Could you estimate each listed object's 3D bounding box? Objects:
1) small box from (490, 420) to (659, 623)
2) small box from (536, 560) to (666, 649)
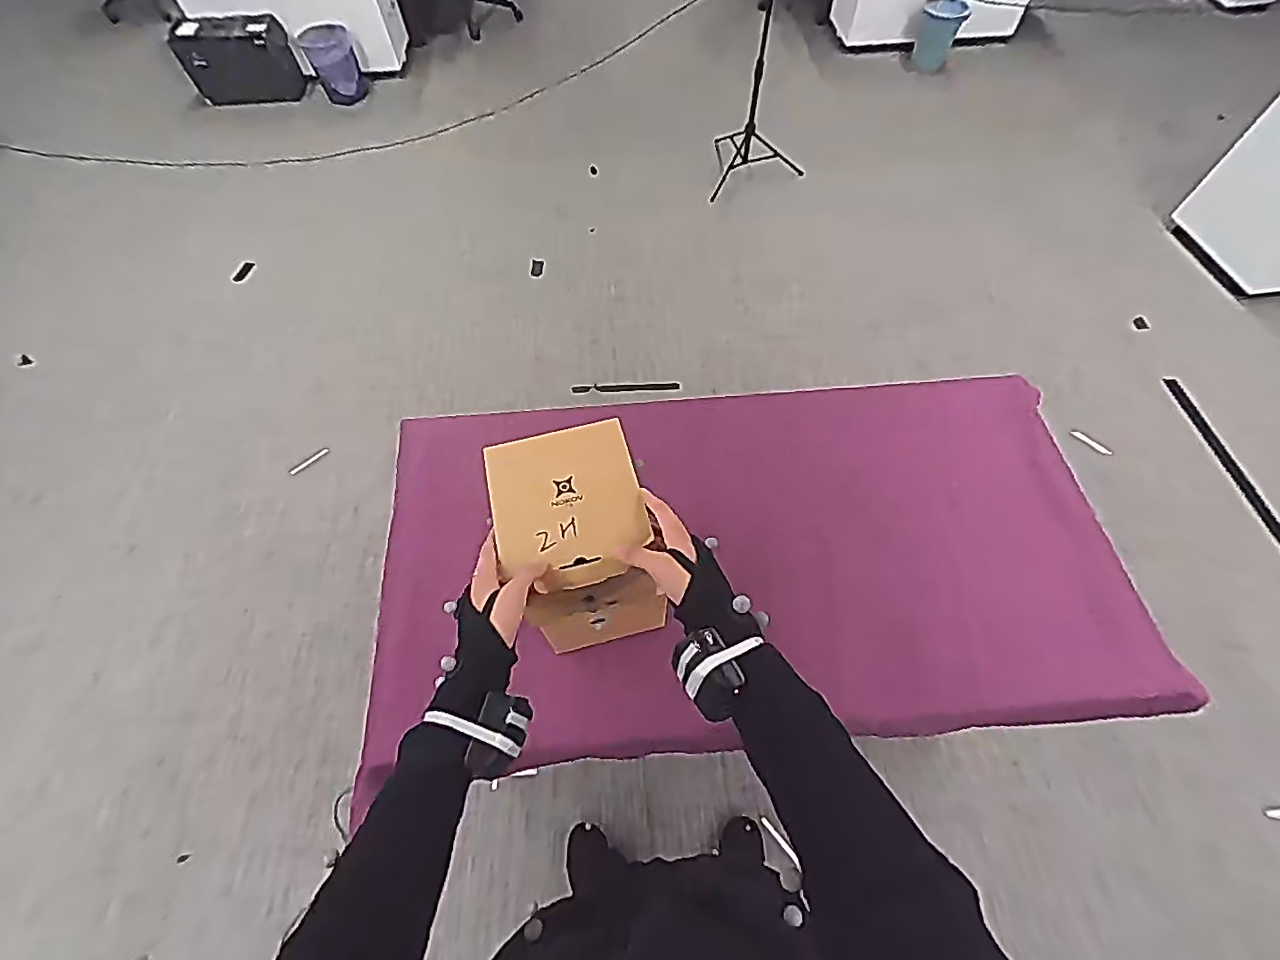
[{"bbox_3d":[-0.078,0.056,0.671,0.168,0.176,0.179,-13,60,-6],"label":"small box"},{"bbox_3d":[-0.065,0.141,0.813,0.179,0.176,0.168,-12,61,-7],"label":"small box"}]
